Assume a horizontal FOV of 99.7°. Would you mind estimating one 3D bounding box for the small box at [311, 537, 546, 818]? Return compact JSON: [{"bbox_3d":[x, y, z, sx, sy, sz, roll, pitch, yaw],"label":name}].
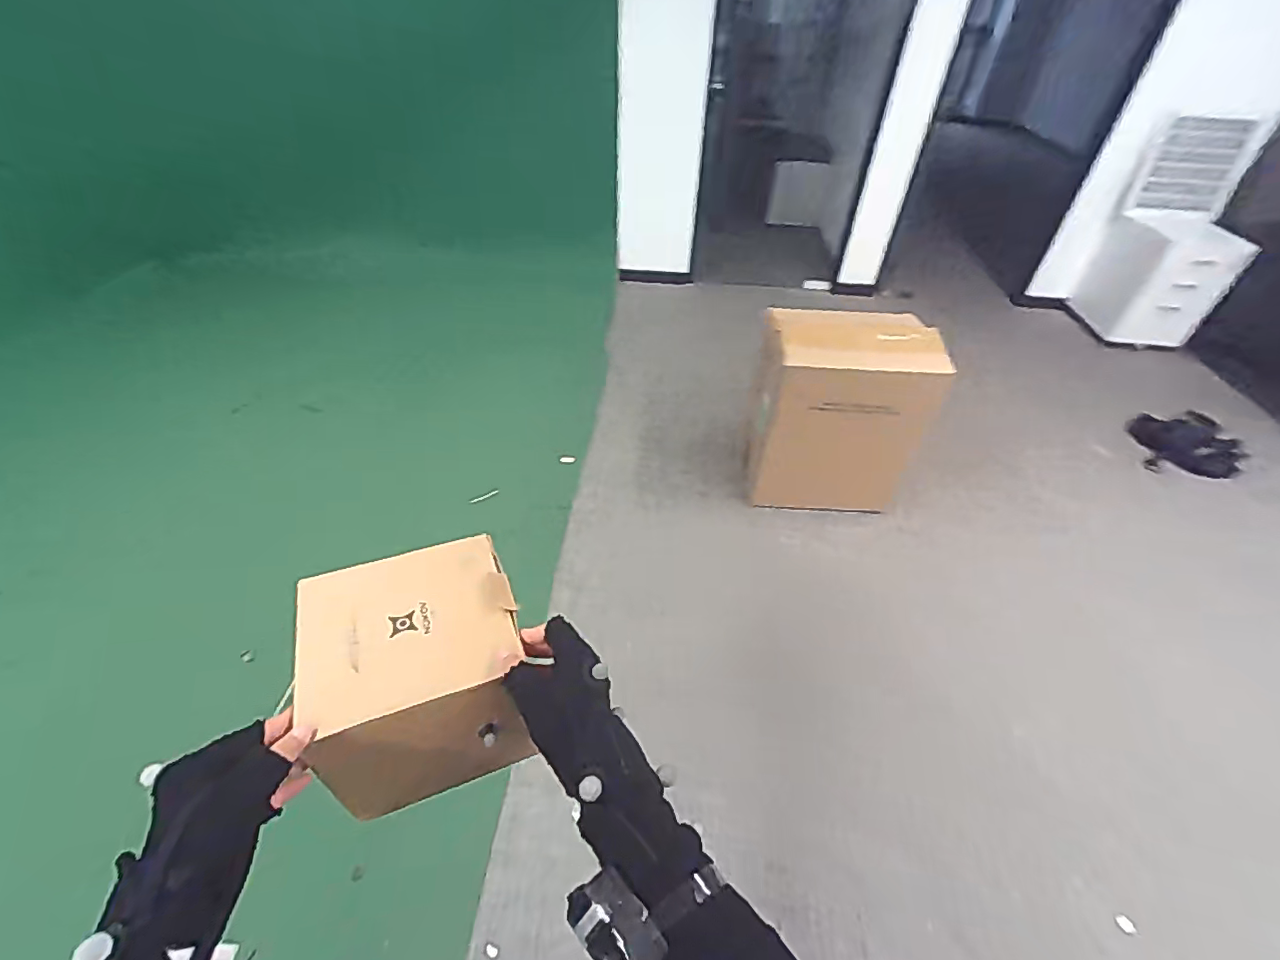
[{"bbox_3d":[-0.196,0.189,0.531,0.179,0.176,0.168,-15,43,-18],"label":"small box"}]
